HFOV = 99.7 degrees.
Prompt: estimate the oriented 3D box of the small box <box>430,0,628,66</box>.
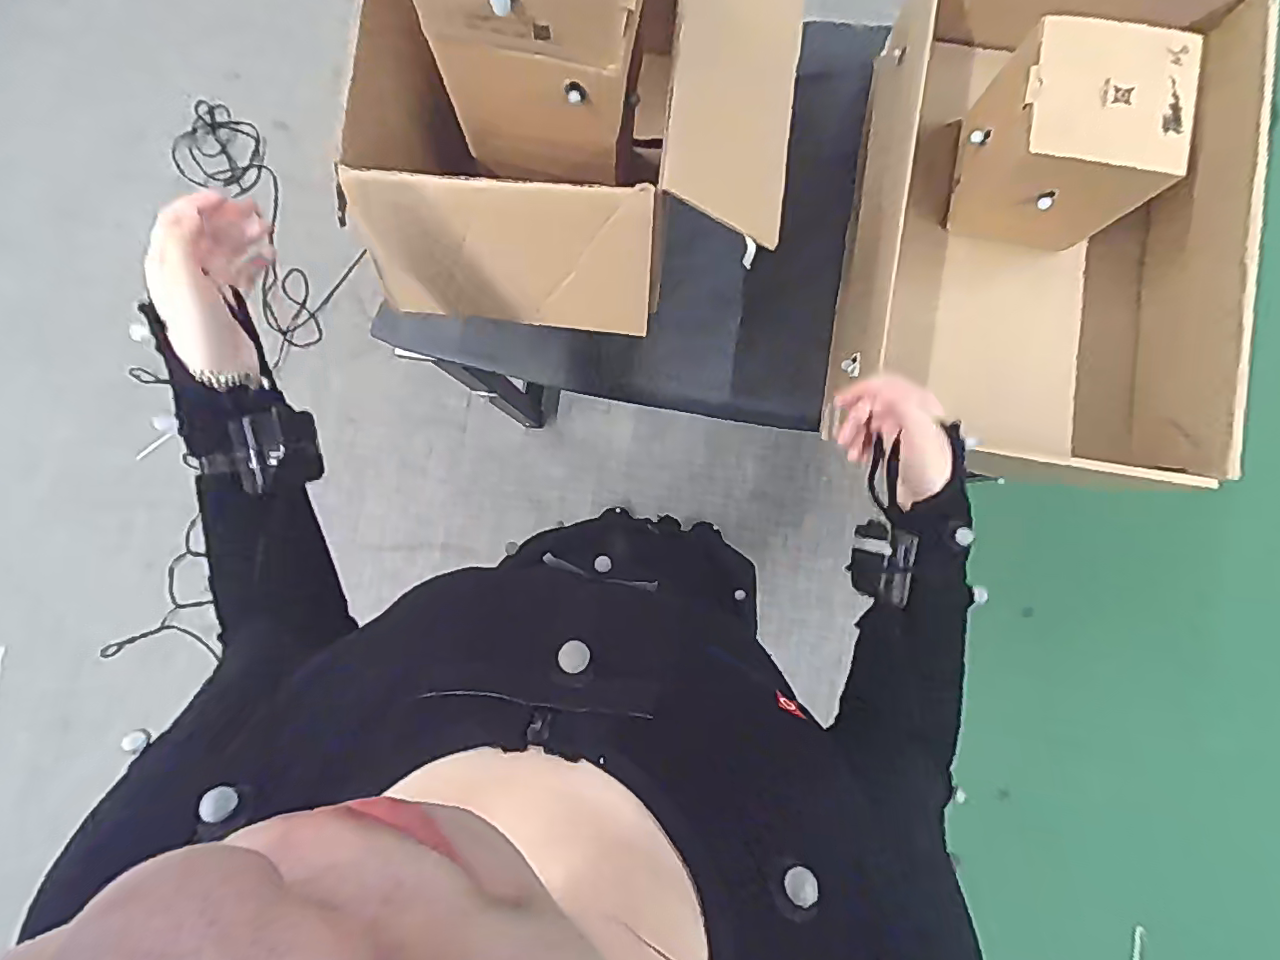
[{"bbox_3d":[-0.083,-0.462,0.395,0.168,0.176,0.179,7,86,-3],"label":"small box"}]
